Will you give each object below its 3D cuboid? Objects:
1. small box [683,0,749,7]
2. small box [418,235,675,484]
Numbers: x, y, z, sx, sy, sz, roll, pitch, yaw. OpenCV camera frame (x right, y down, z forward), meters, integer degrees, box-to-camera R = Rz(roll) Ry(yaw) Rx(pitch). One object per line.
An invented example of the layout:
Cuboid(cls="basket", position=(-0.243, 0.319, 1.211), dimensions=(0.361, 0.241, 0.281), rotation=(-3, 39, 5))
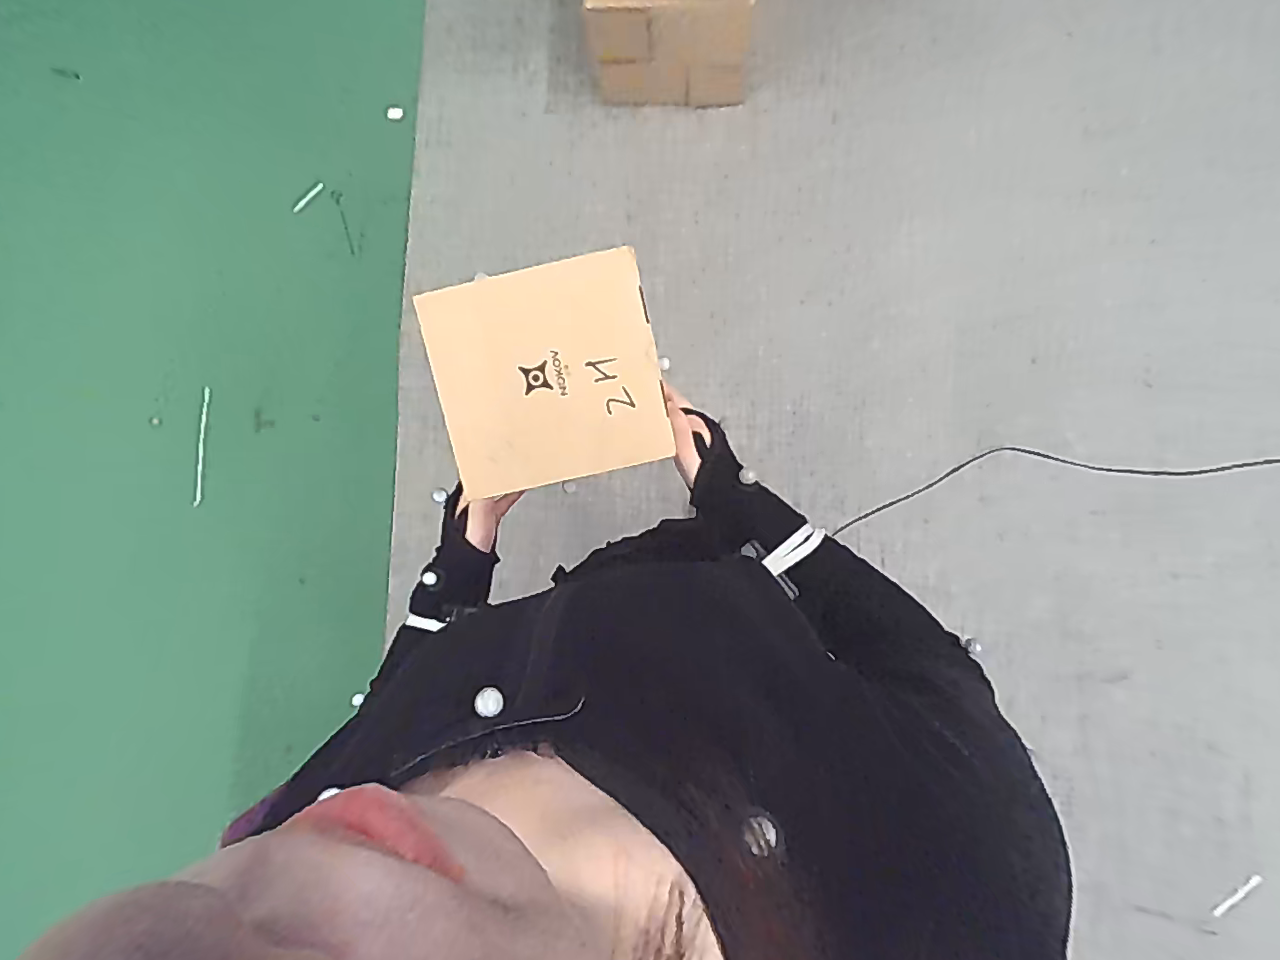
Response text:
Cuboid(cls="small box", position=(0.169, -1.172, 1.155), dimensions=(0.168, 0.176, 0.179), rotation=(7, 86, 8))
Cuboid(cls="small box", position=(-0.070, -0.099, 0.497), dimensions=(0.179, 0.176, 0.168), rotation=(-11, 97, 2))
